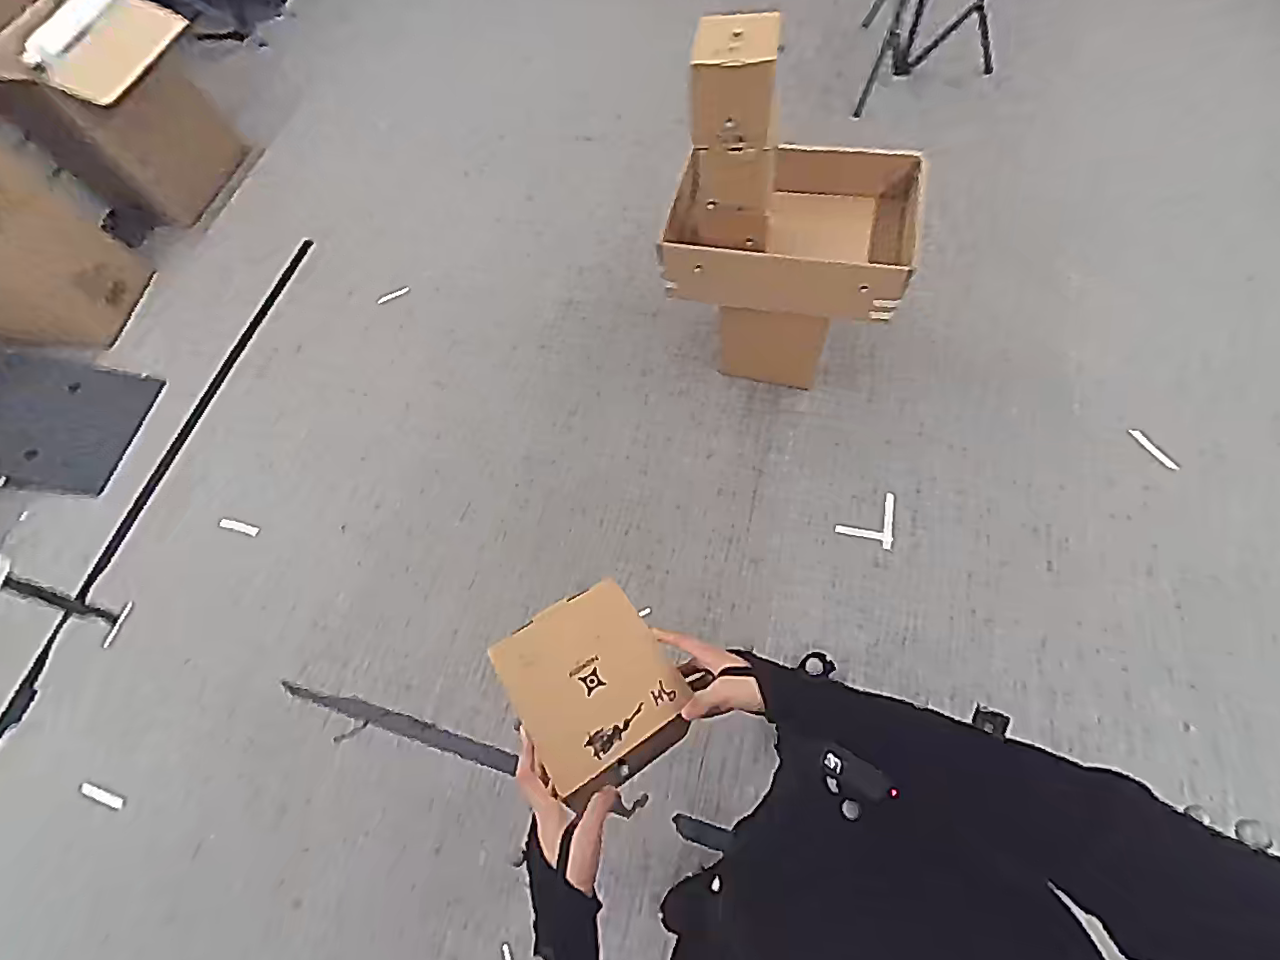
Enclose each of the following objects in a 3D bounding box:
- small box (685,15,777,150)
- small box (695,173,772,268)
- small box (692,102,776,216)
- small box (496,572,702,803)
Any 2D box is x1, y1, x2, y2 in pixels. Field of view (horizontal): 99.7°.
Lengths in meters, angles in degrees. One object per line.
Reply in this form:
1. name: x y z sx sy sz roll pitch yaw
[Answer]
1. small box: 0.190 -0.830 1.135 0.168 0.176 0.179 6 66 11
2. small box: 0.246 -0.682 1.425 0.179 0.176 0.168 6 67 12
3. small box: 0.223 -0.753 1.279 0.168 0.176 0.179 8 66 11
4. small box: -0.049 0.249 0.642 0.168 0.176 0.179 -27 59 -19
